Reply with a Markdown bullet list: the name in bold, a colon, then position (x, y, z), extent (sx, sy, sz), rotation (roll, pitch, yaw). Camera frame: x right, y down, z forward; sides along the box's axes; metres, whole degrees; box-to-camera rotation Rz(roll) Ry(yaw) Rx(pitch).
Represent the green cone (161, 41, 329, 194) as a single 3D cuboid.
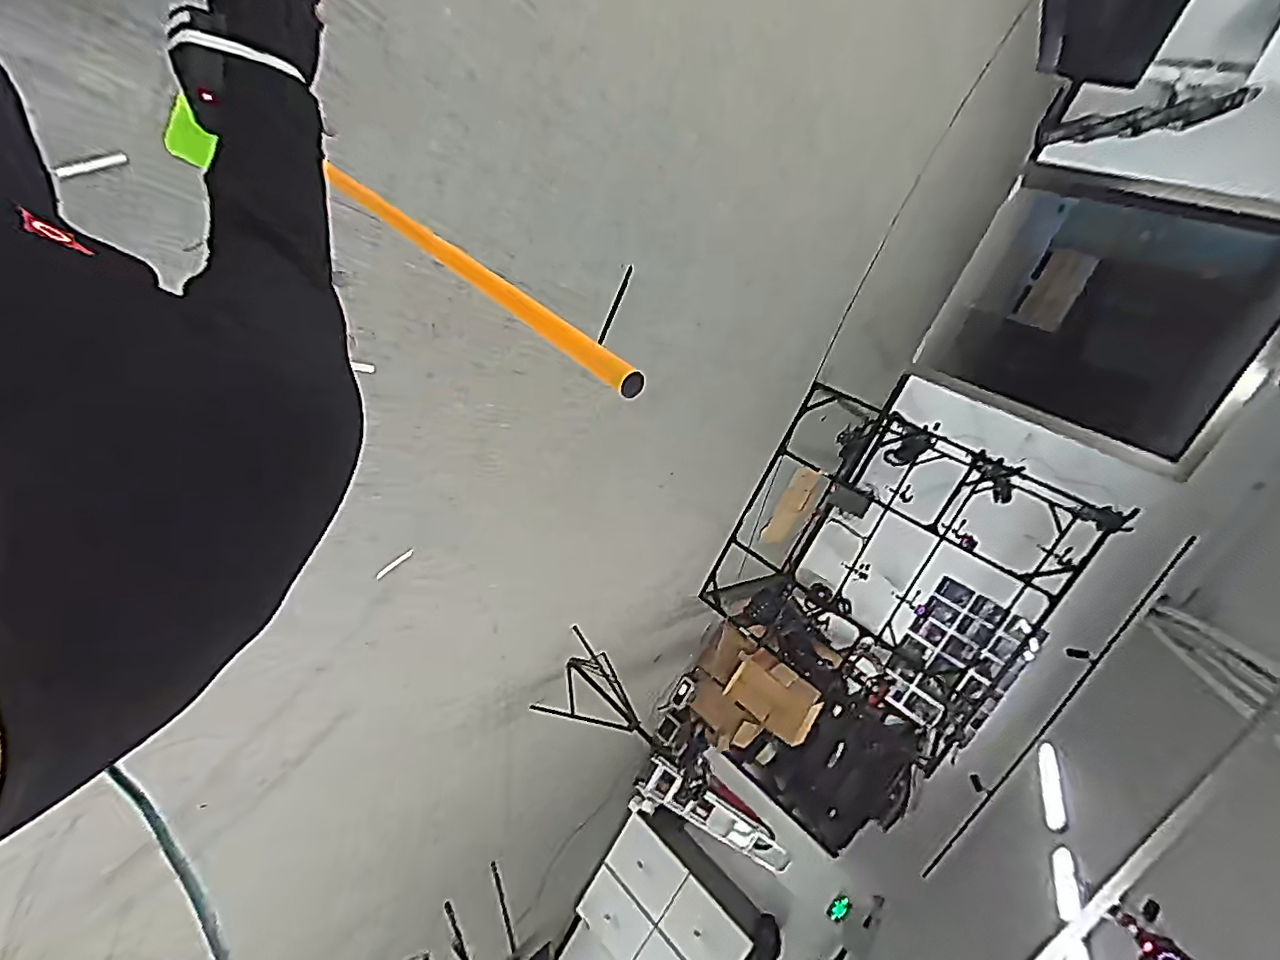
- **green cone**: position (-0.681, -0.625, 0.994), extent (0.202, 0.368, 0.200), rotation (10, 110, -60)
